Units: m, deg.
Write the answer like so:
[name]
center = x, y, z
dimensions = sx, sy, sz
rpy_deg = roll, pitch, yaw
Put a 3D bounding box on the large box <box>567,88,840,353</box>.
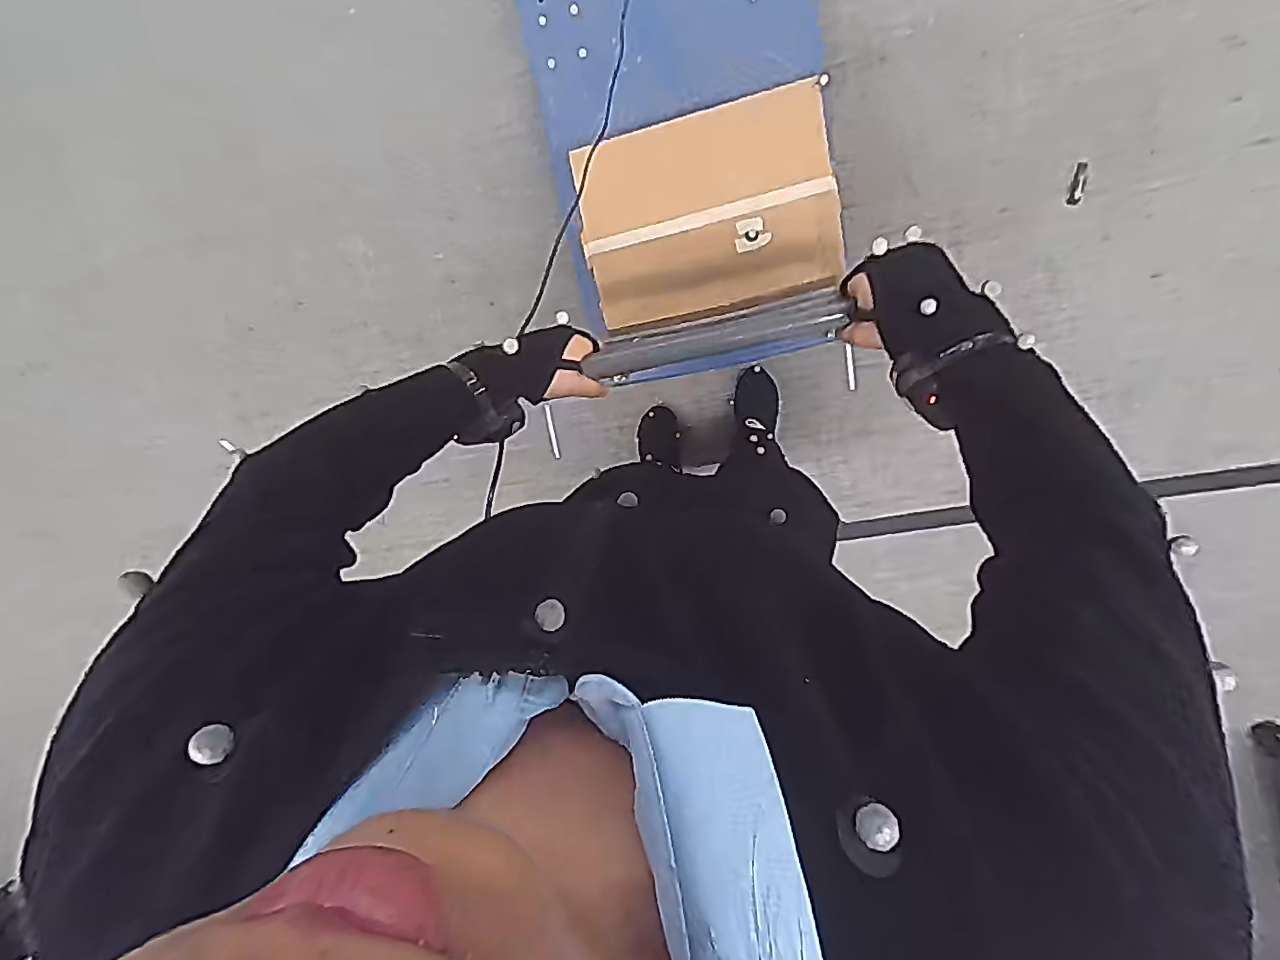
[large box]
center = 0.120, -0.440, 1.022
dimensions = 0.408, 0.320, 0.320
rpy_deg = -10, 100, 10
